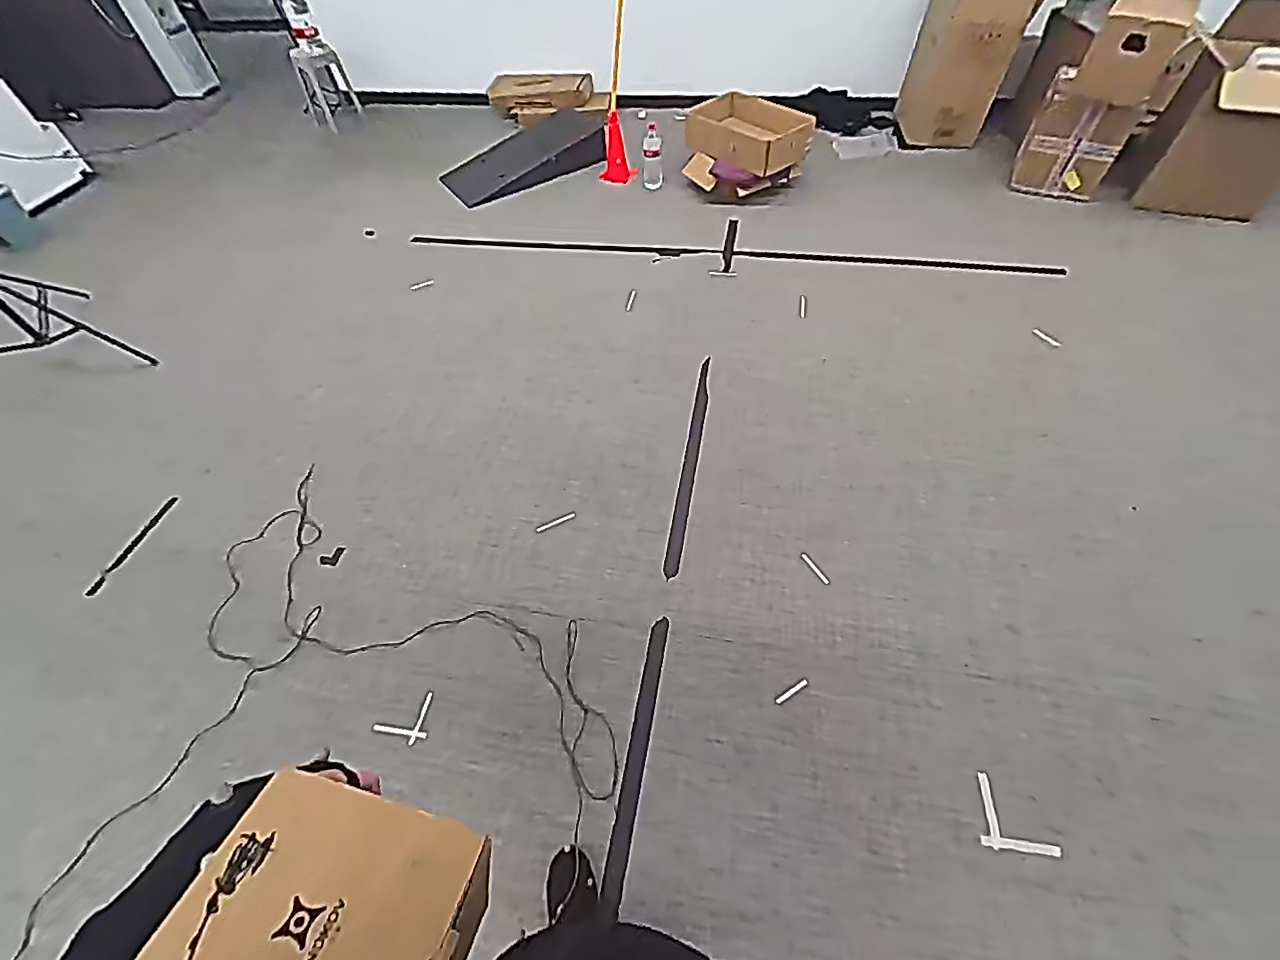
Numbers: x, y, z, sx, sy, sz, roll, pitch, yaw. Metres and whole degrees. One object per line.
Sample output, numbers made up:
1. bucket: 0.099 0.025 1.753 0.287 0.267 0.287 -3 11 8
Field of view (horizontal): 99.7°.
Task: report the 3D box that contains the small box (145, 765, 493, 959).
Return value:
1. small box: -0.228 0.357 0.408 0.179 0.176 0.168 17 37 3
